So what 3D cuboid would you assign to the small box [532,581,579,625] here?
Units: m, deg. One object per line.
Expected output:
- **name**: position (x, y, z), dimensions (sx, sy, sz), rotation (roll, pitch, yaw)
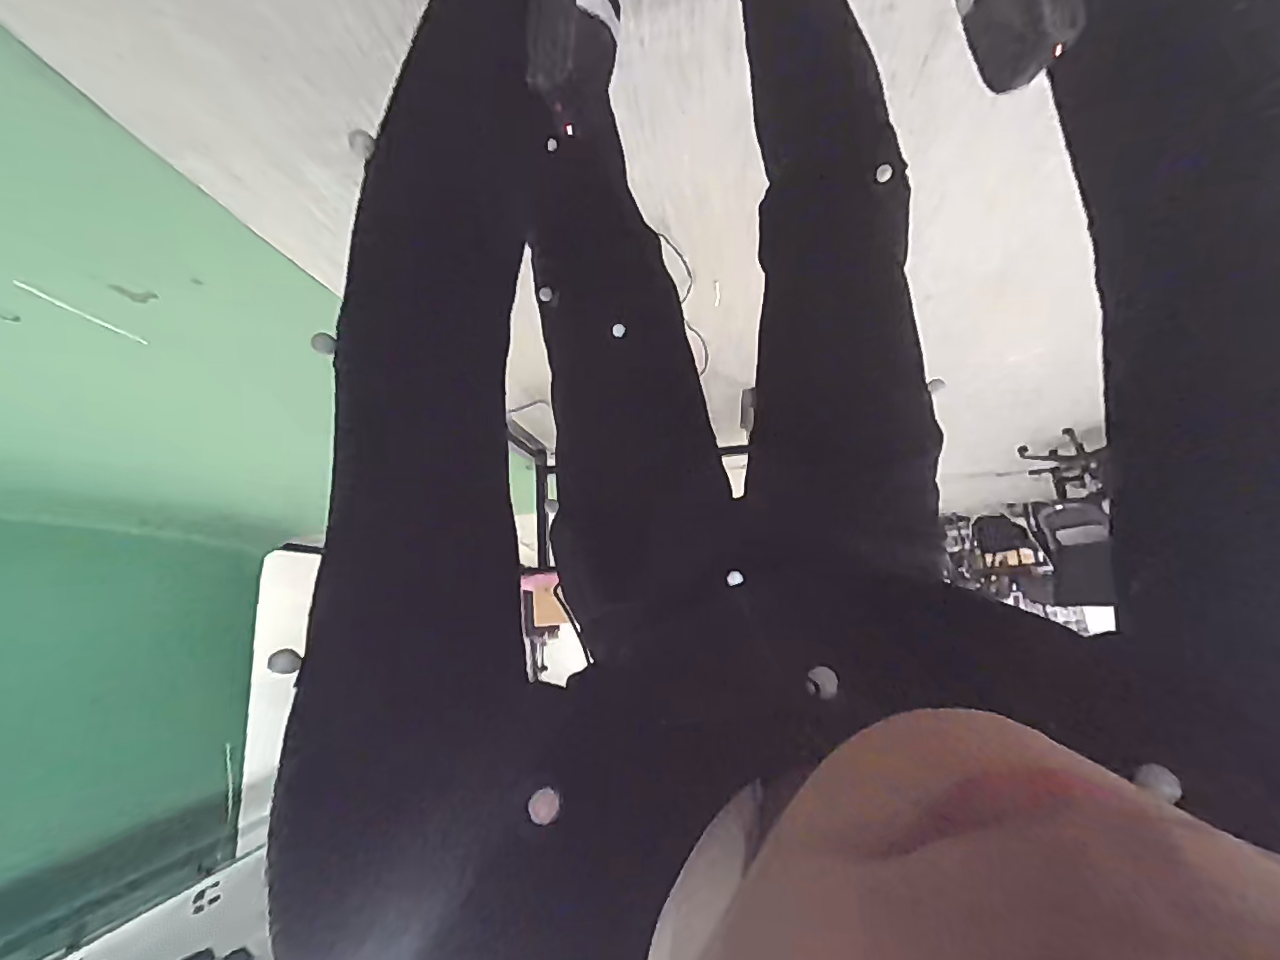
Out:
- **small box**: position (-0.361, 0.524, 2.315), dimensions (0.168, 0.176, 0.179), rotation (-6, 168, 4)
